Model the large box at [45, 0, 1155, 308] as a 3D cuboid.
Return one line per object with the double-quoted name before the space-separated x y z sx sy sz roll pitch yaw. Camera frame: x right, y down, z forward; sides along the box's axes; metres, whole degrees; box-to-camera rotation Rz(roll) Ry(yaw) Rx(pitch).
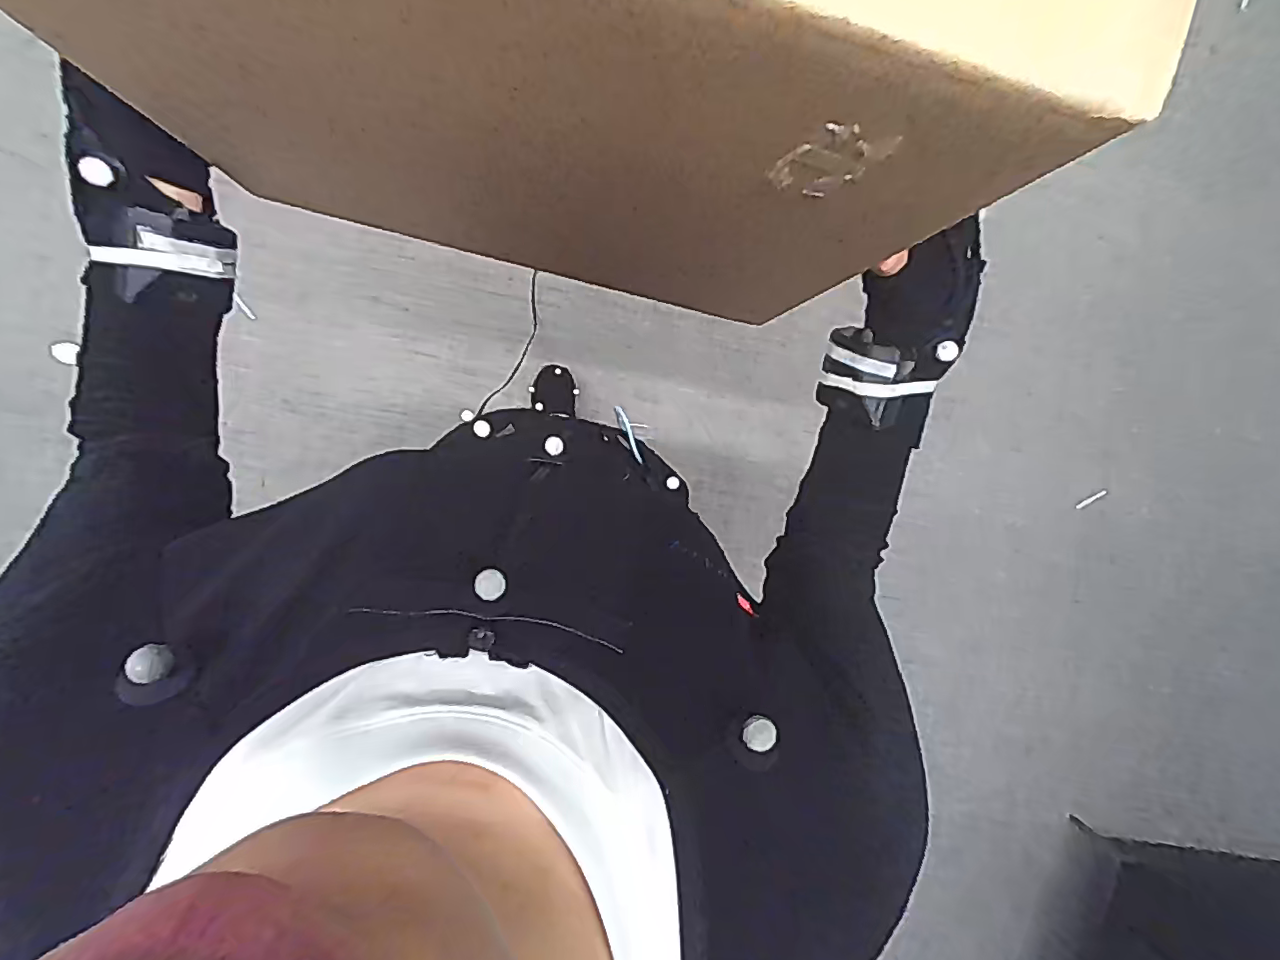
"large box" -0.034 -0.313 0.271 0.408 0.320 0.320 12 95 -10
